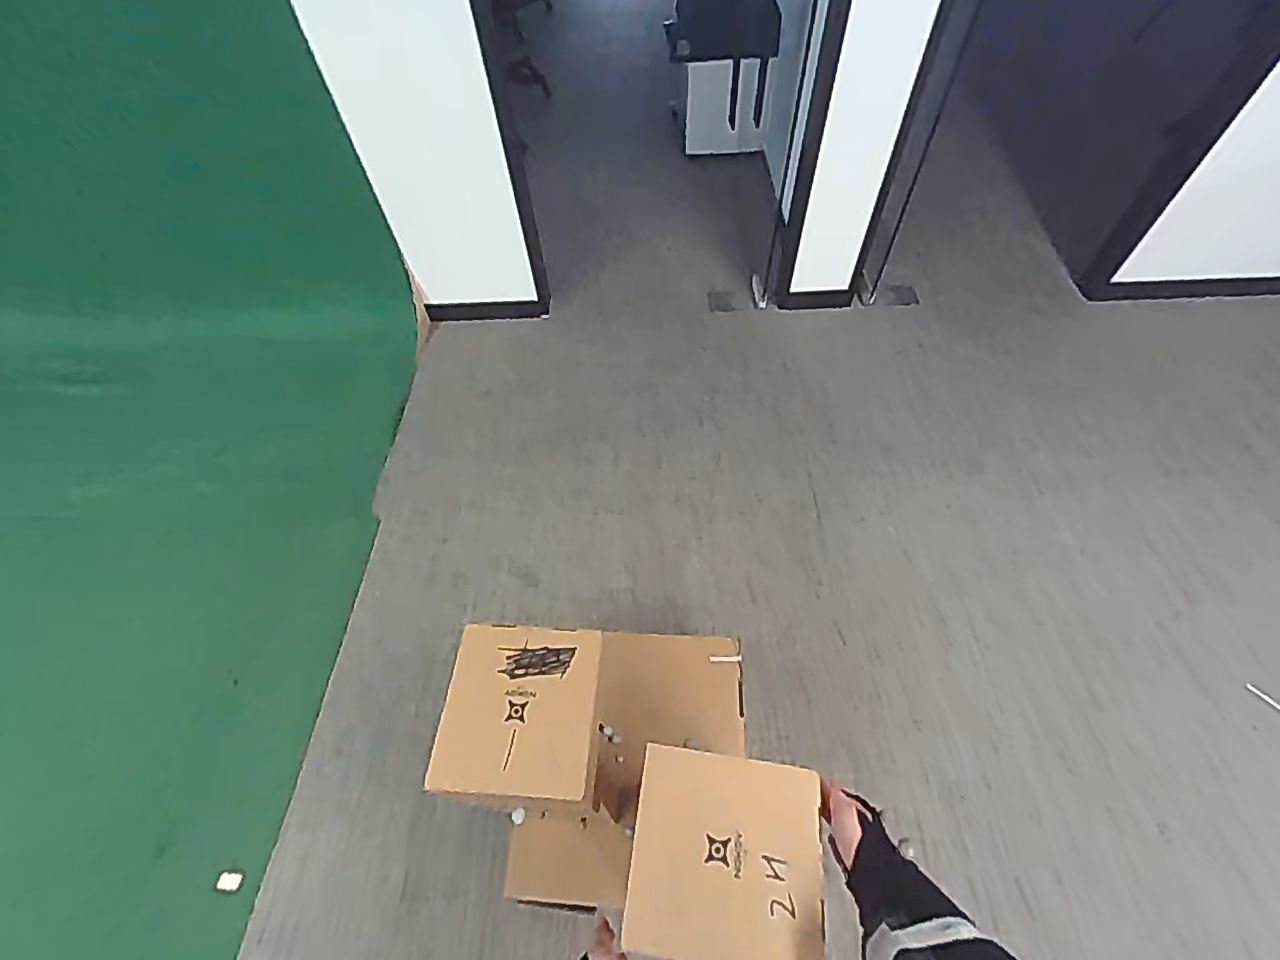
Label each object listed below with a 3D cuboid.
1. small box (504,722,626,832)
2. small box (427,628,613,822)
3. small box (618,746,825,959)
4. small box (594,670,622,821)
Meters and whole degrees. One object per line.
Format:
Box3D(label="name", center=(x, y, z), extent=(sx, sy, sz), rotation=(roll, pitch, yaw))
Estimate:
Box3D(label="small box", center=(-0.115, 0.485, 0.919), extent=(0.168, 0.176, 0.179), rotation=(2, 52, 4))
Box3D(label="small box", center=(-0.126, 0.297, 0.651), extent=(0.168, 0.176, 0.179), rotation=(2, 54, 5))
Box3D(label="small box", center=(0.082, 0.393, 0.559), extent=(0.179, 0.176, 0.168), rotation=(6, 55, 7))
Box3D(label="small box", center=(-0.118, 0.384, 0.790), extent=(0.168, 0.176, 0.179), rotation=(2, 55, 4))
